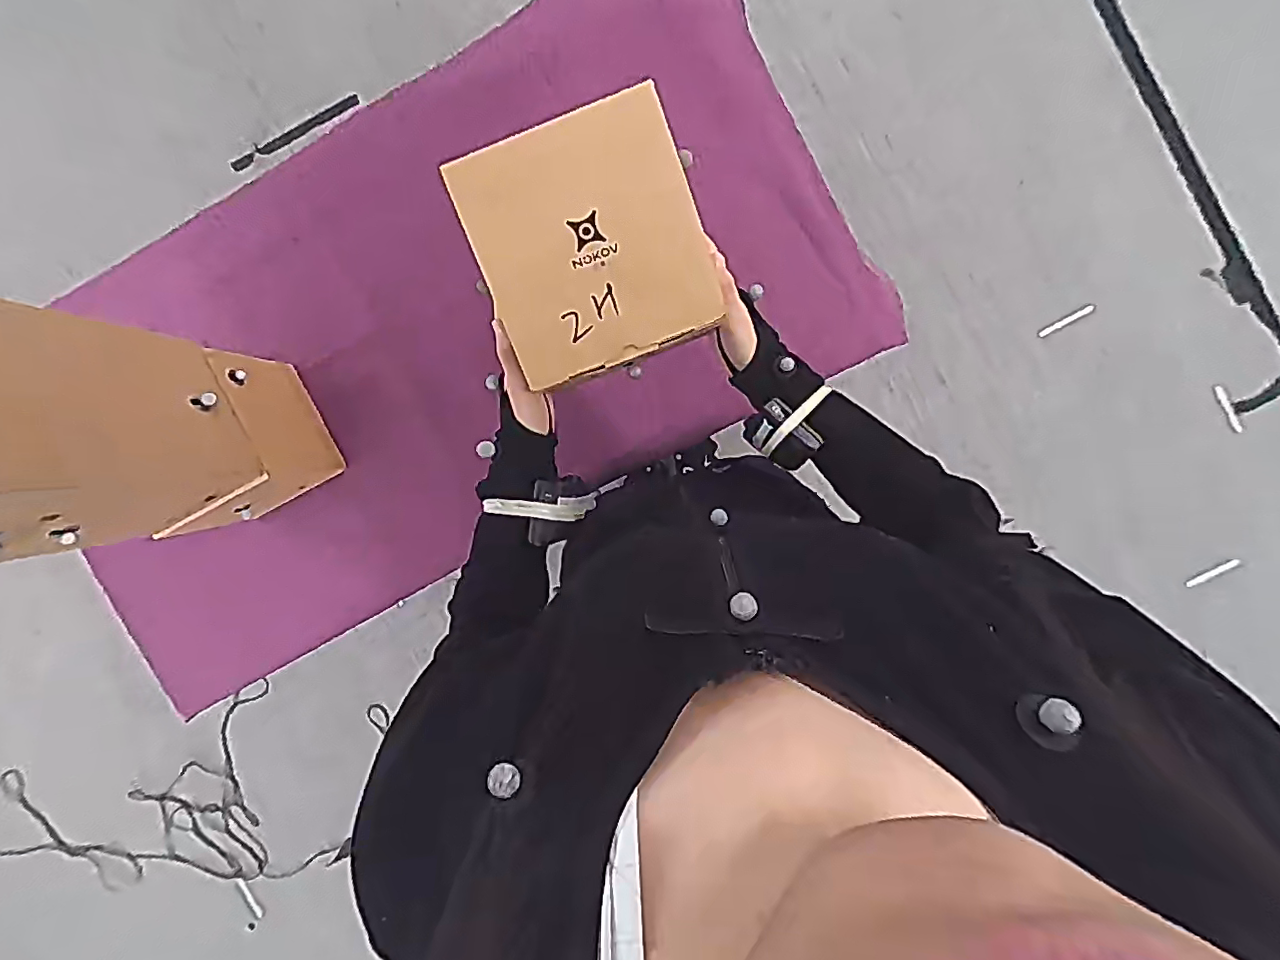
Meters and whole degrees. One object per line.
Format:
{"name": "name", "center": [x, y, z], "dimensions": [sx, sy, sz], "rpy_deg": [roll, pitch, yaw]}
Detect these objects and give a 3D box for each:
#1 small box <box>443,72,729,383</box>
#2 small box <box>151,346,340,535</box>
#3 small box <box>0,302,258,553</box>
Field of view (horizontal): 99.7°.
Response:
{"name": "small box", "center": [-0.039, -0.192, 0.472], "dimensions": [0.168, 0.176, 0.179], "rpy_deg": [-20, 100, 3]}
{"name": "small box", "center": [-0.542, -0.051, 0.713], "dimensions": [0.168, 0.176, 0.179], "rpy_deg": [-28, 92, 4]}
{"name": "small box", "center": [-0.551, -0.045, 0.549], "dimensions": [0.168, 0.176, 0.179], "rpy_deg": [-28, 92, 4]}
